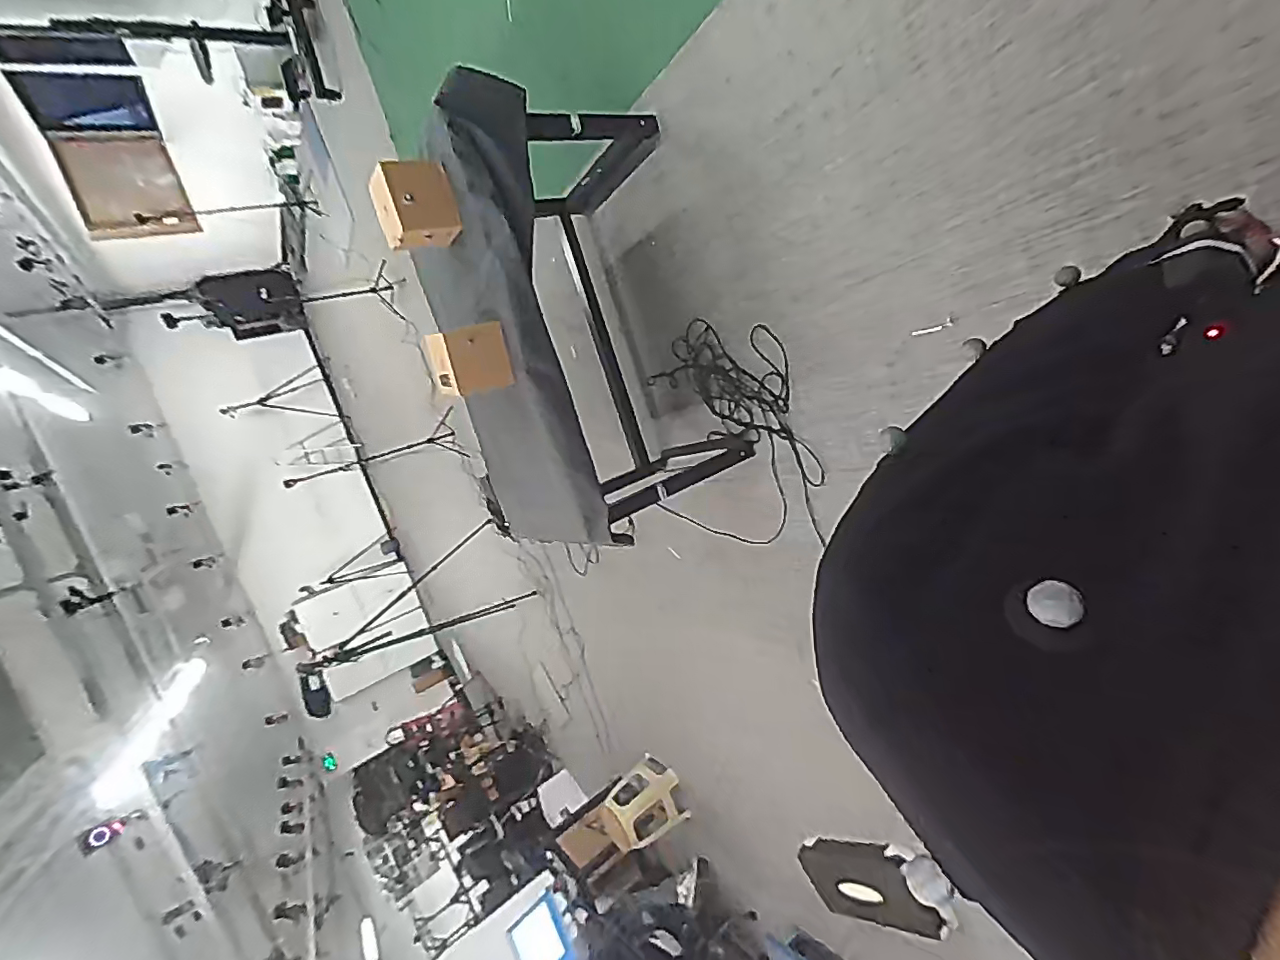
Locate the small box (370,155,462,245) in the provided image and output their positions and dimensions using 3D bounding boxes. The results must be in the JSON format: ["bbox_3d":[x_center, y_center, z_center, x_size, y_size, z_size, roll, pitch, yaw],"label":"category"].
[{"bbox_3d":[-0.607,-0.762,1.472,0.168,0.176,0.179,3,112,54],"label":"small box"}]
